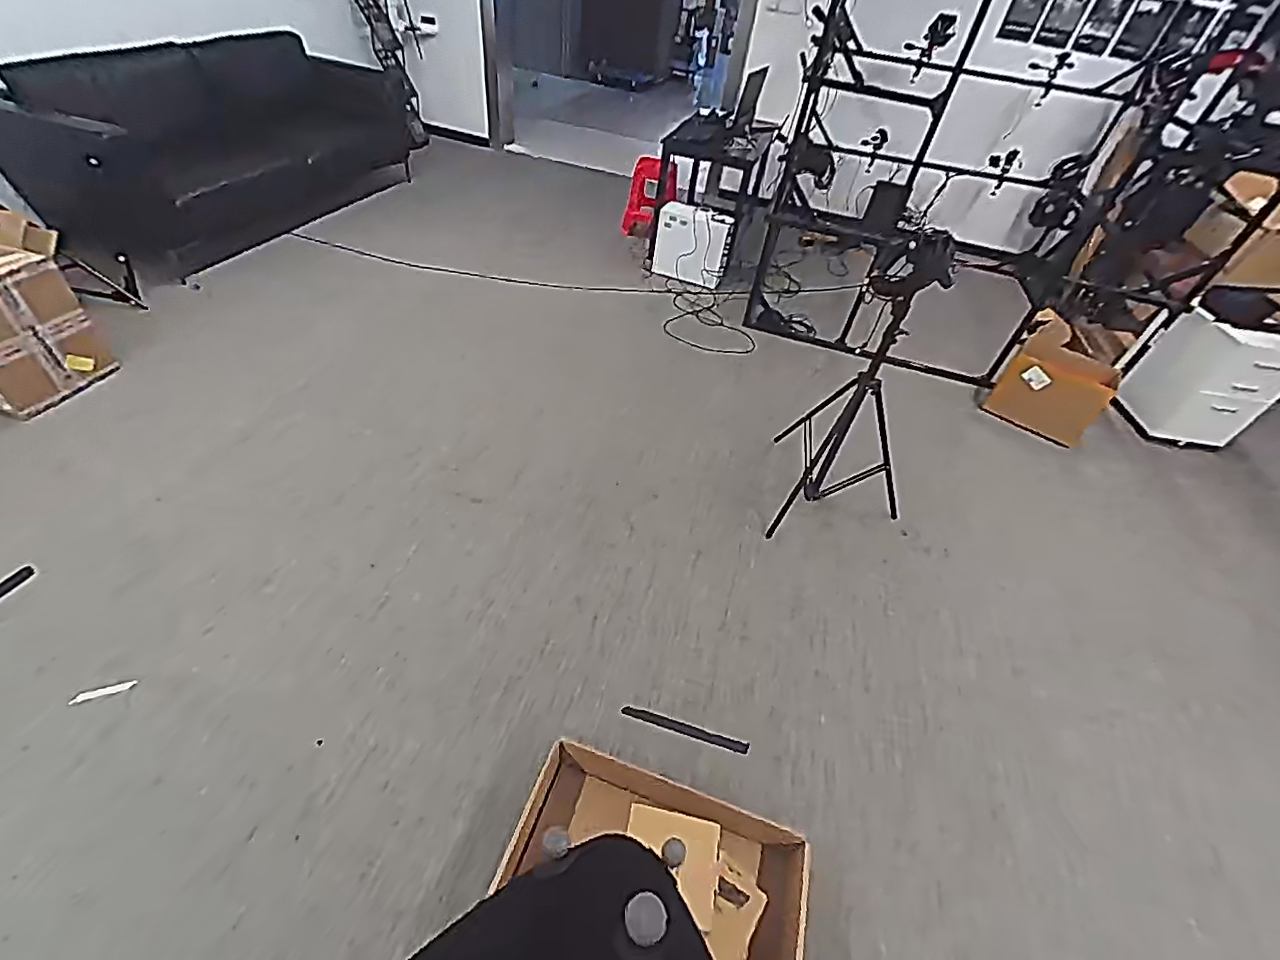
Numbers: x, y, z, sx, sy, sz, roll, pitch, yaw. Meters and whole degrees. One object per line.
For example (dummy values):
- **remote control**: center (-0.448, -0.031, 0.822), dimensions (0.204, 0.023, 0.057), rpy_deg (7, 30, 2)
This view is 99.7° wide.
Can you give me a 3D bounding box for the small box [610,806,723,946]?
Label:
- **small box**: center (0.049, 0.749, 1.018), dimensions (0.179, 0.176, 0.168), rpy_deg (11, 42, 3)
